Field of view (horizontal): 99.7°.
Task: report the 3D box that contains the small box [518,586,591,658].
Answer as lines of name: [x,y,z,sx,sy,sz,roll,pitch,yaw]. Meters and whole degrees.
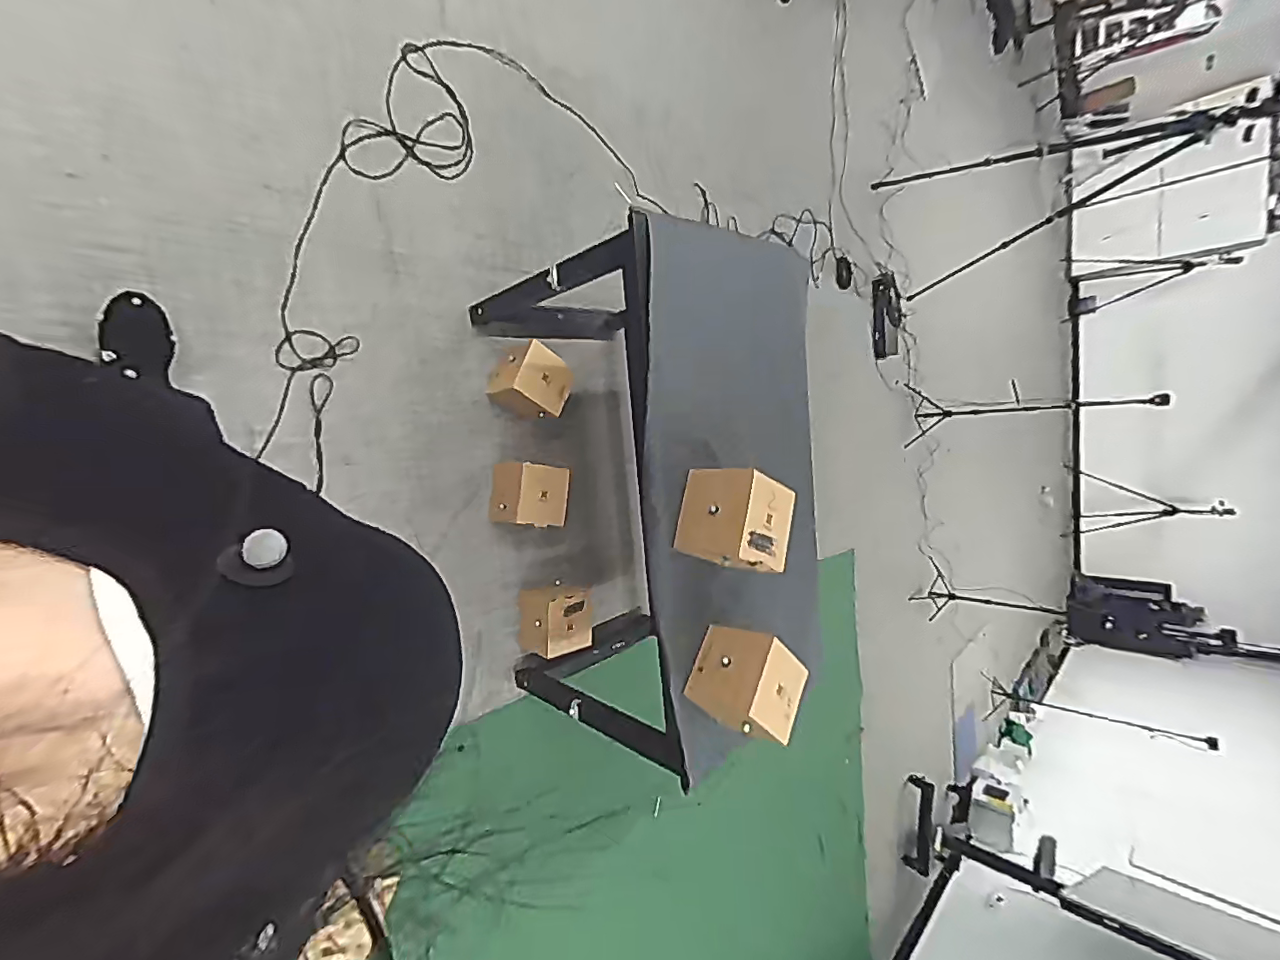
small box: [-0.270,0.435,1.696,0.168,0.176,0.179,-4,94,-43]

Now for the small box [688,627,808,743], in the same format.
small box: [0.229,0.431,1.161,0.179,0.176,0.168,48,57,-33]

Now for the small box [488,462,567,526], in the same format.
small box: [-0.341,0.044,1.626,0.168,0.176,0.179,8,83,-44]

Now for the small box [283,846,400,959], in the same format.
small box: [-0.714,1.003,1.285,0.168,0.176,0.179,35,67,-39]

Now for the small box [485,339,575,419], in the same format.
small box: [-0.335,-0.295,1.628,0.179,0.176,0.168,33,68,-39]
